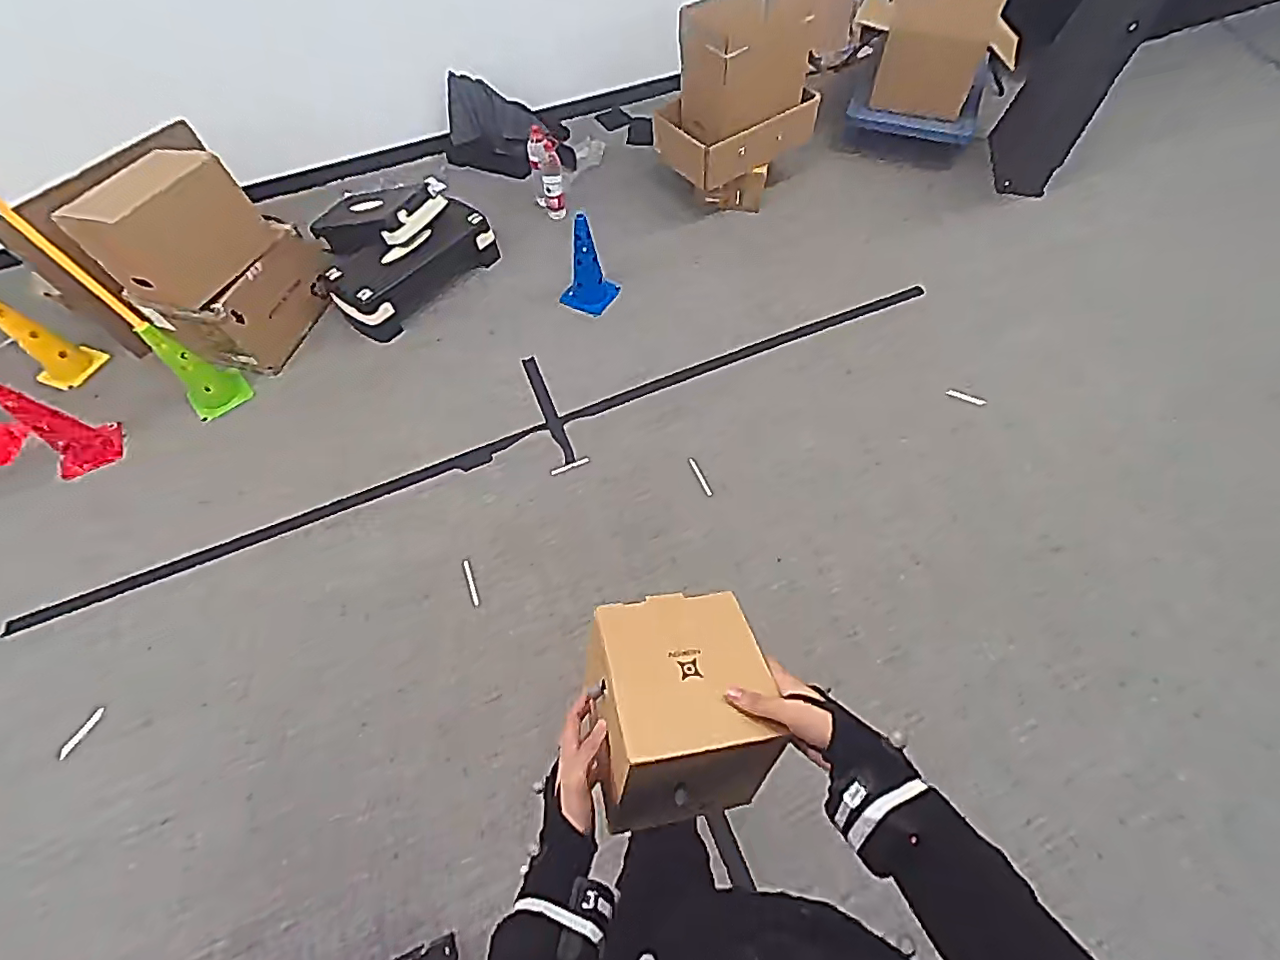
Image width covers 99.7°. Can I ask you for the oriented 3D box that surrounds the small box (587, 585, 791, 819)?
[{"bbox_3d":[0.037,0.244,0.595,0.168,0.176,0.179,-4,39,-15],"label":"small box"}]
